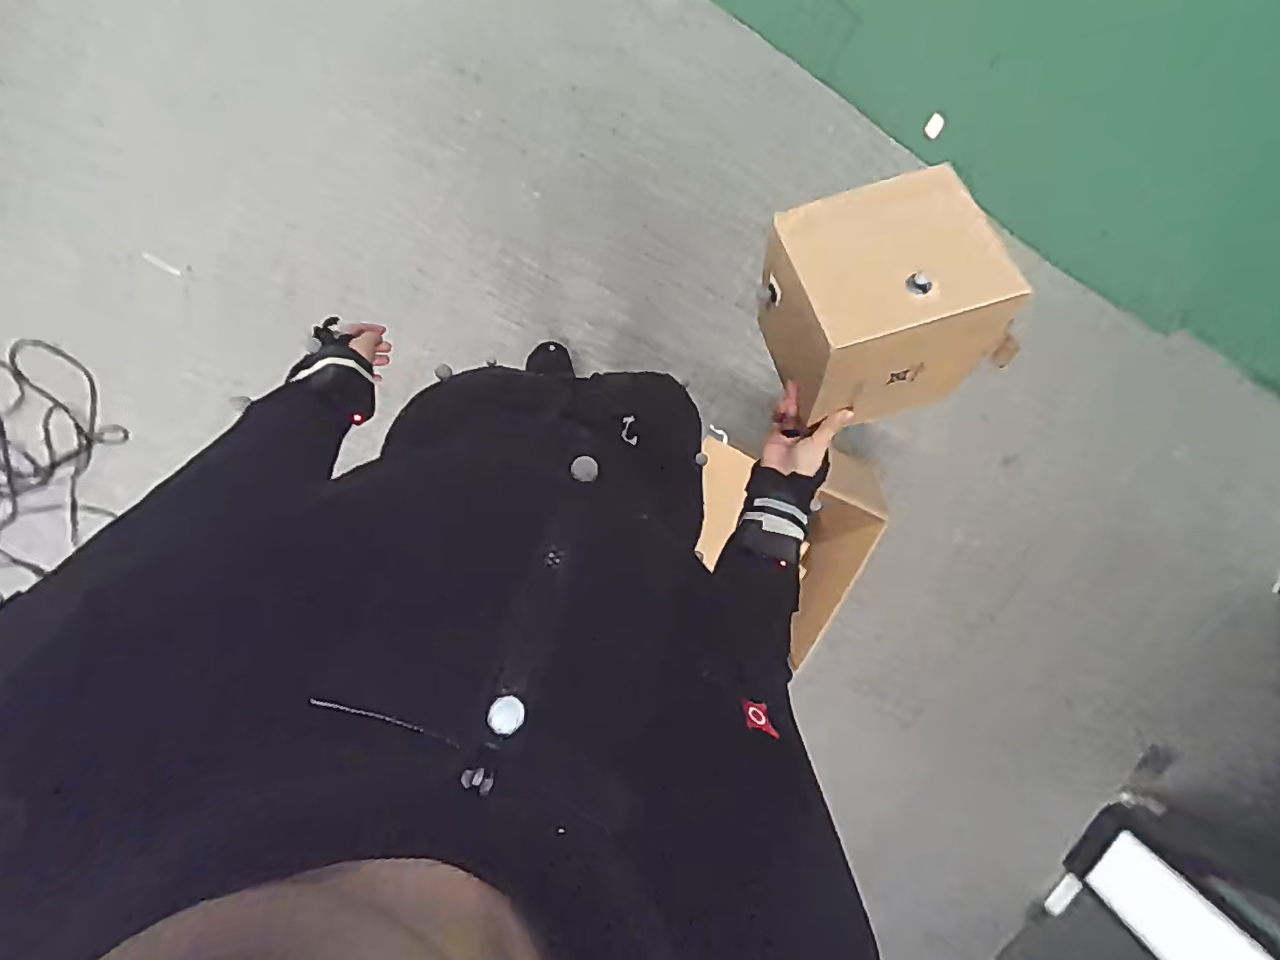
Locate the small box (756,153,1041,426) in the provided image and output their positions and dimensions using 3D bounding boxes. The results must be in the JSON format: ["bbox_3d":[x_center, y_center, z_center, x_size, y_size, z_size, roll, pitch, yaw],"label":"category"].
[{"bbox_3d":[0.230,-0.182,0.537,0.179,0.168,0.176,-16,67,3],"label":"small box"}]
